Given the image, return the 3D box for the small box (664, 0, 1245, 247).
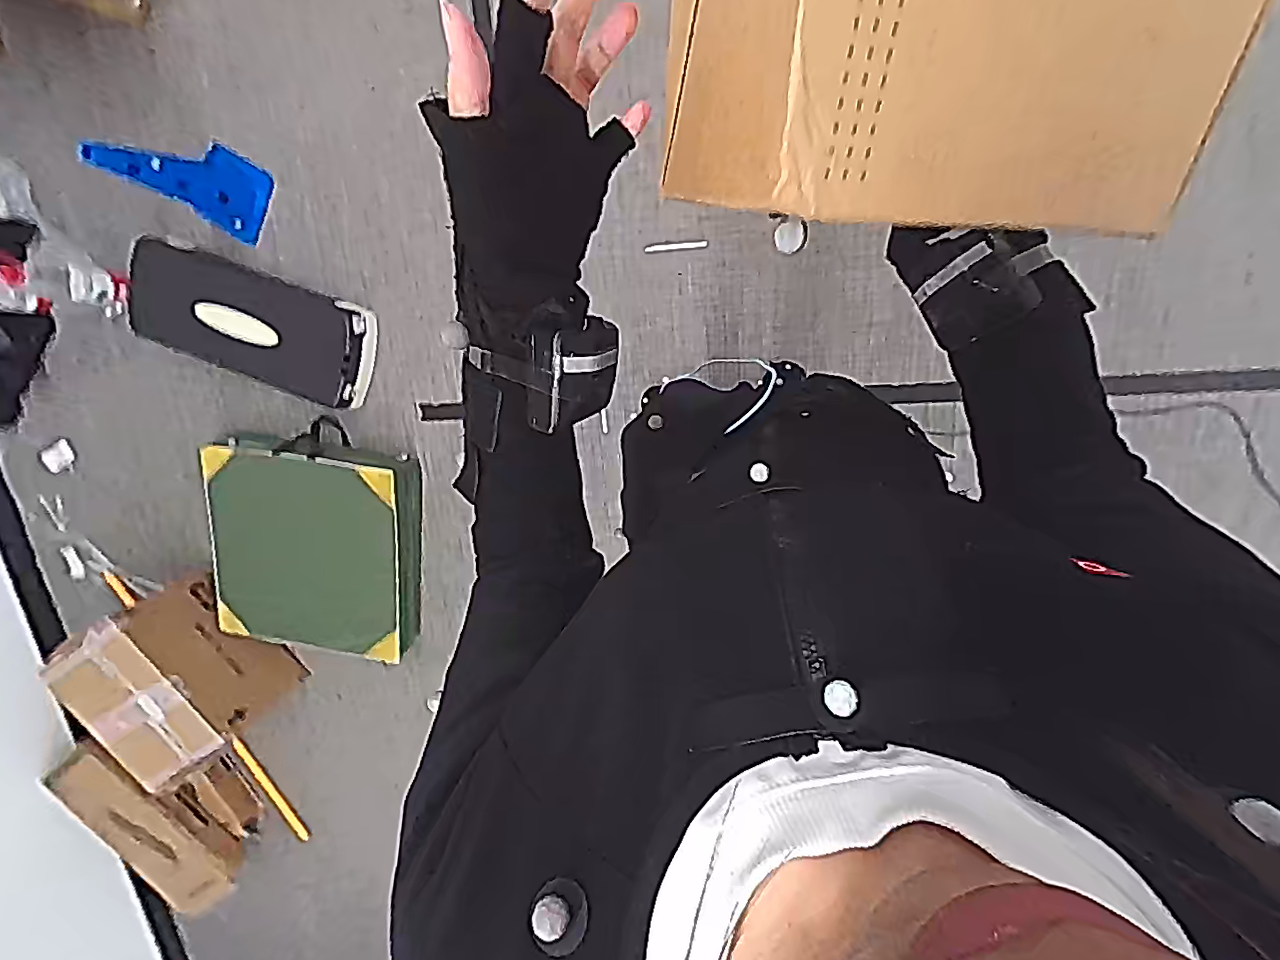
[{"bbox_3d":[0.113,-0.207,0.236,0.176,0.168,0.179,-1,120,-11],"label":"small box"}]
